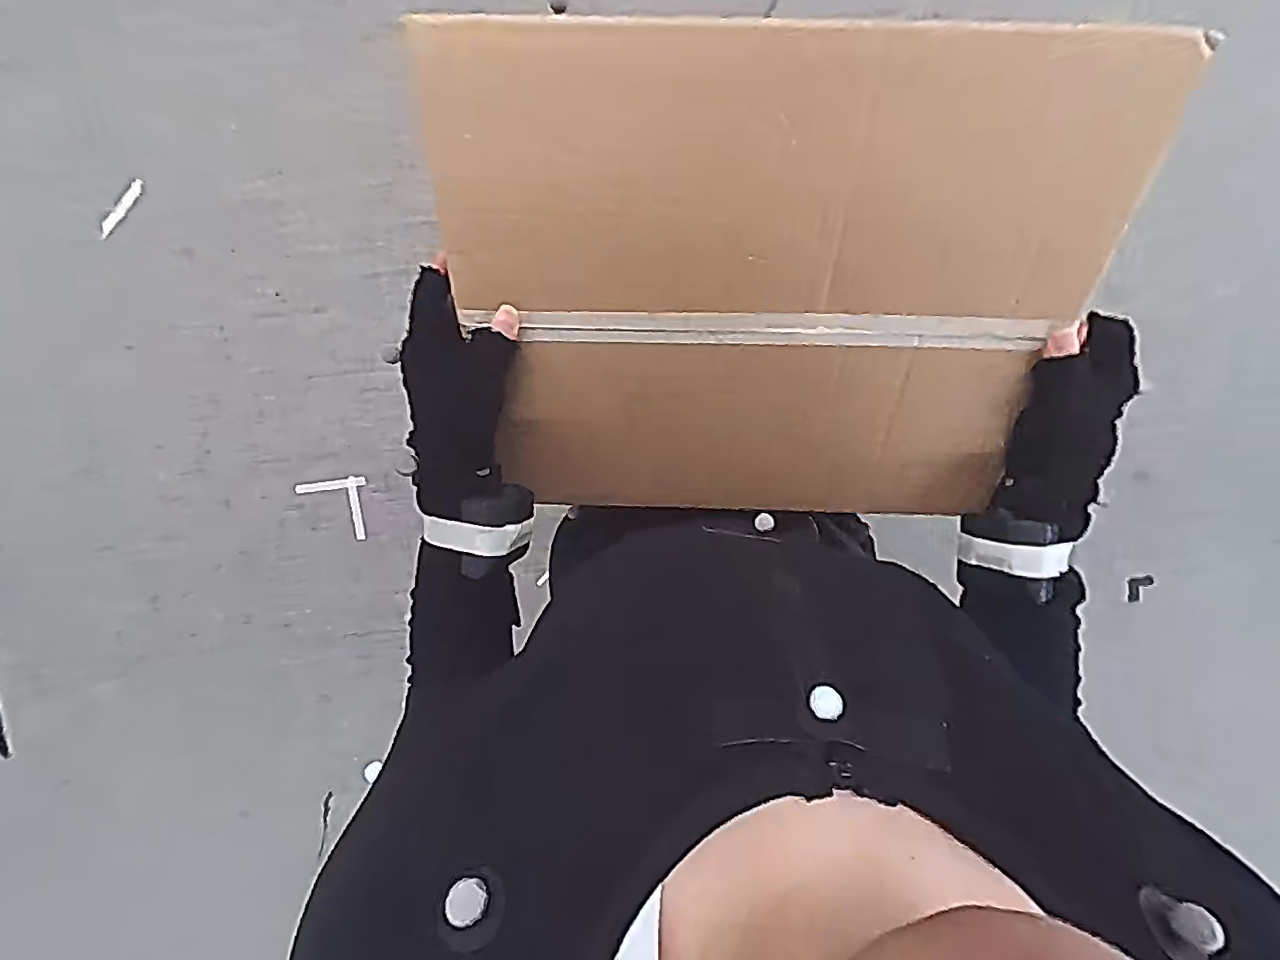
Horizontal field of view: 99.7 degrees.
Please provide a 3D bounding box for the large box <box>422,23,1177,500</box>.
[{"bbox_3d":[0.082,-0.197,0.490,0.408,0.320,0.320,2,128,1],"label":"large box"}]
